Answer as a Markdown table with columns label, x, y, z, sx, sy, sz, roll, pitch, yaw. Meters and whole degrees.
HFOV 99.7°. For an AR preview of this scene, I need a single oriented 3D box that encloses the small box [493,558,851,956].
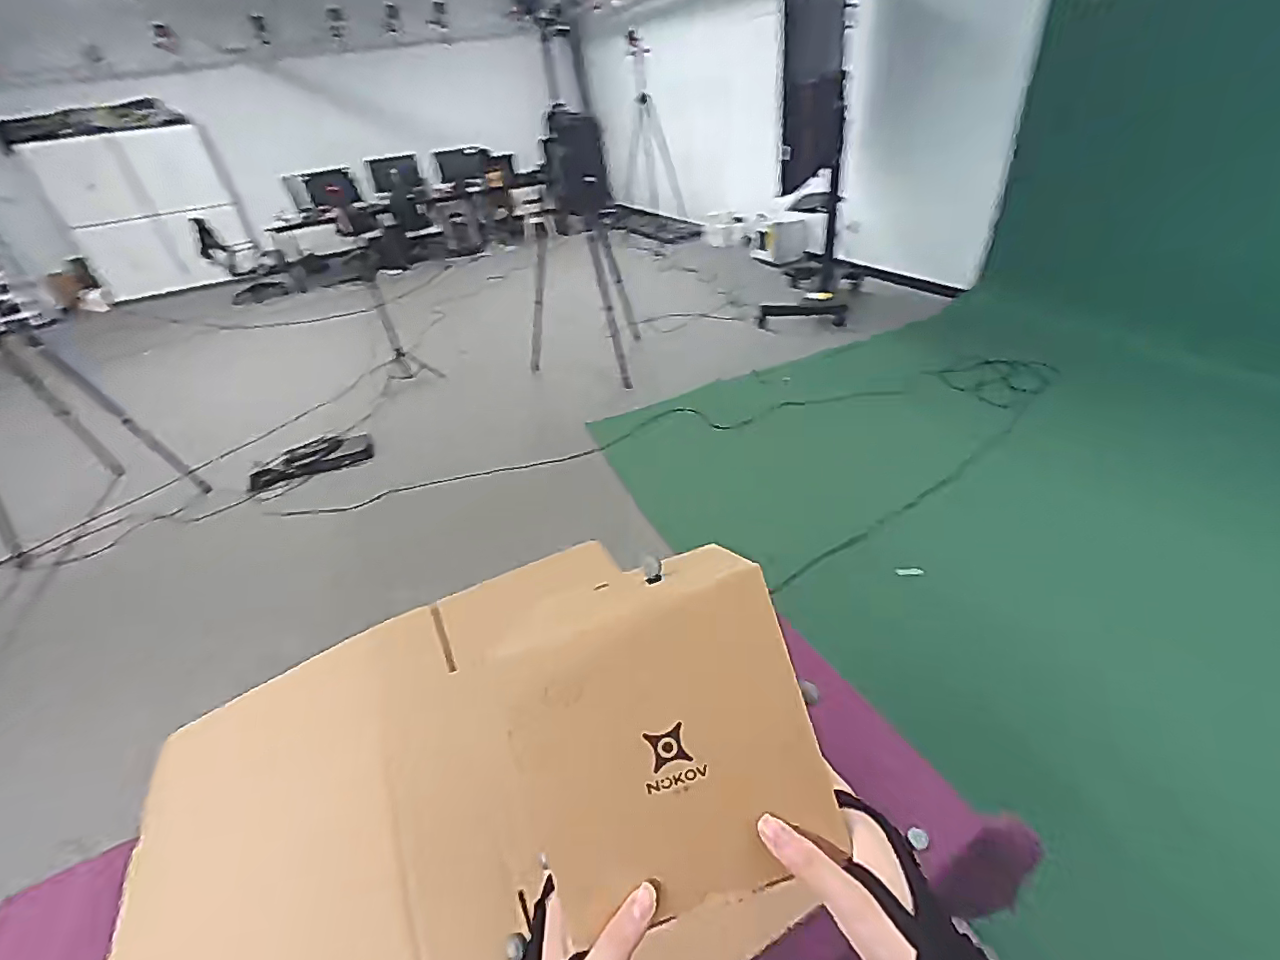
| label | x | y | z | sx | sy | sz | roll | pitch | yaw |
| --- | --- | --- | --- | --- | --- | --- | --- | --- | --- |
| small box | 0.016 | 0.162 | 0.385 | 0.168 | 0.179 | 0.176 | -18 | 0 | -1 |
